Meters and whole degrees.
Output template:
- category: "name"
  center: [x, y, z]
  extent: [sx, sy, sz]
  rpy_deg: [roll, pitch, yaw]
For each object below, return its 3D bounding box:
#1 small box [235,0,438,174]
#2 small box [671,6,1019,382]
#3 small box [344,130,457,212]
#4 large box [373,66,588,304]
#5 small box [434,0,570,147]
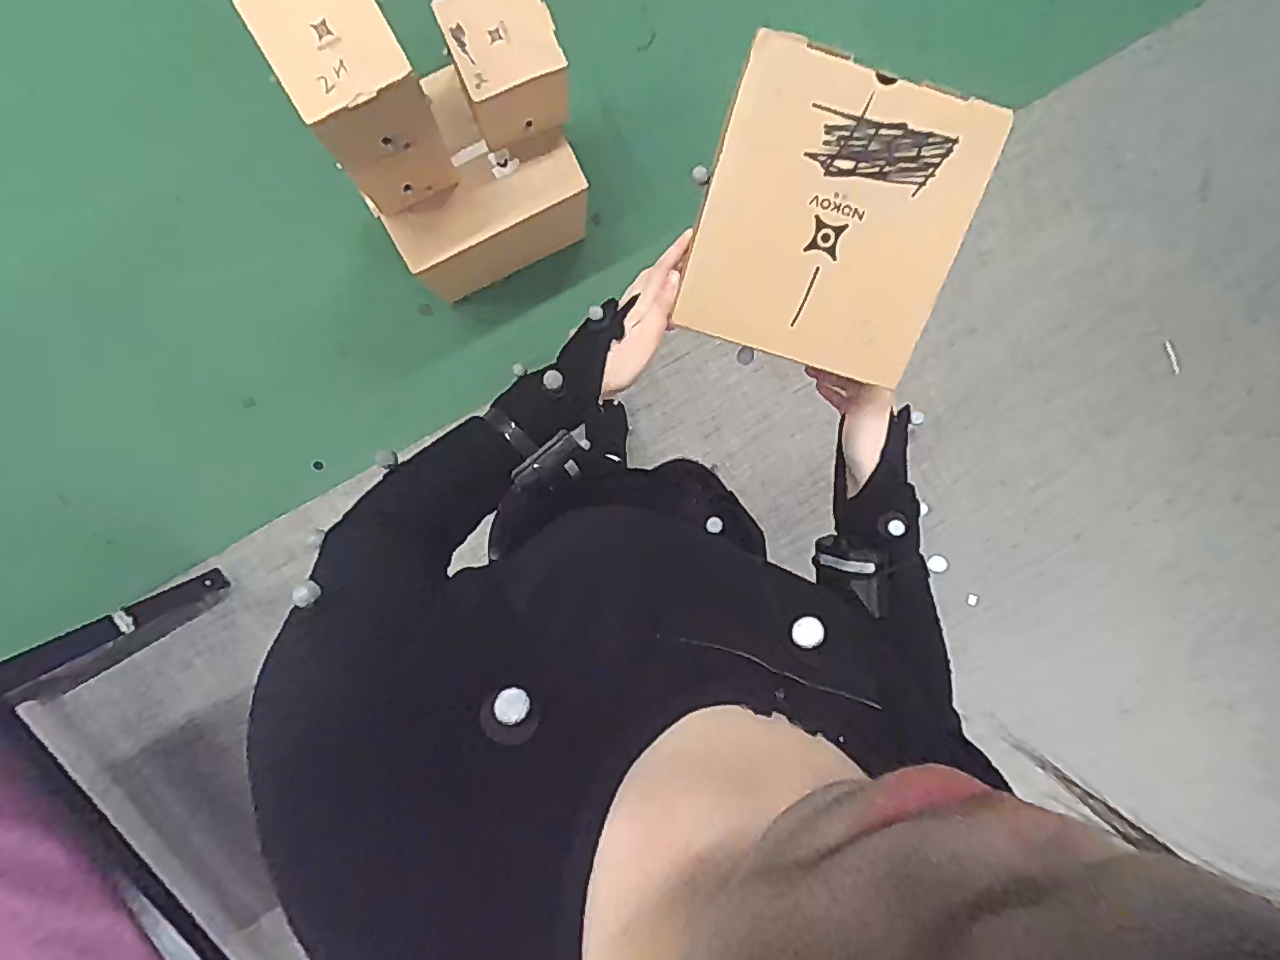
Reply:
- category: "small box"
  center: [-0.428, -0.598, 0.795]
  extent: [0.168, 0.176, 0.179]
  rpy_deg: [-29, 99, -3]
- category: "small box"
  center: [0.122, -0.191, 0.409]
  extent: [0.168, 0.176, 0.179]
  rpy_deg: [16, 108, -2]
- category: "small box"
  center: [-0.451, -0.617, 0.957]
  extent: [0.168, 0.176, 0.179]
  rpy_deg: [-28, 99, -4]
- category: "large box"
  center: [-0.364, -0.650, 1.209]
  extent: [0.408, 0.320, 0.320]
  rpy_deg: [-29, 100, -4]
- category: "small box"
  center: [-0.236, -0.739, 0.965]
  extent: [0.179, 0.176, 0.168]
  rpy_deg: [-23, 98, -4]
